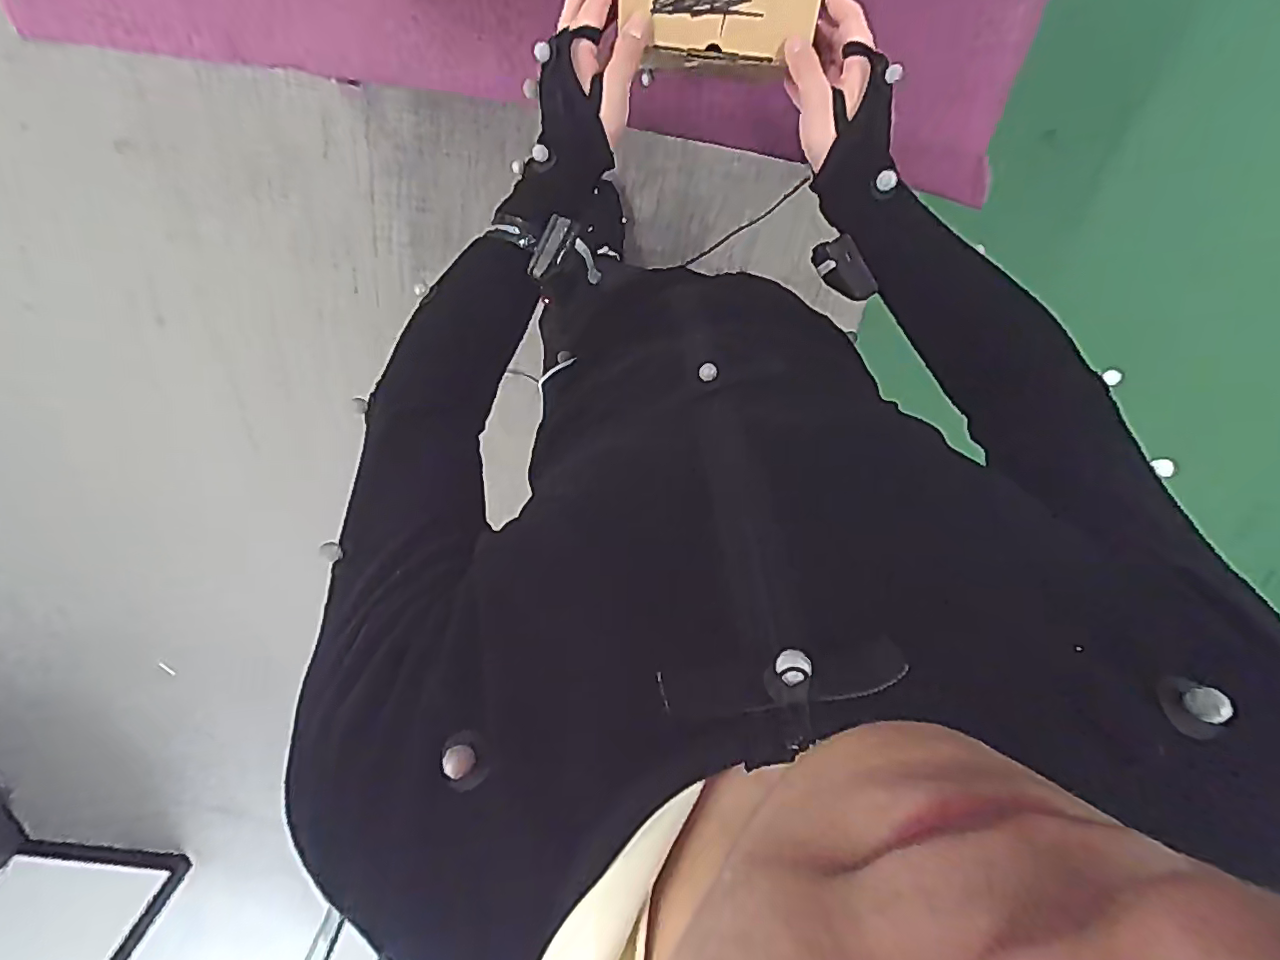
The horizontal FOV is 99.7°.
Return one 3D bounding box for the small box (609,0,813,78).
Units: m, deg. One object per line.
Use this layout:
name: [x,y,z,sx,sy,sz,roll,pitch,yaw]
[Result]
small box: [0.064,-0.475,0.476,0.168,0.176,0.179,4,121,-4]
